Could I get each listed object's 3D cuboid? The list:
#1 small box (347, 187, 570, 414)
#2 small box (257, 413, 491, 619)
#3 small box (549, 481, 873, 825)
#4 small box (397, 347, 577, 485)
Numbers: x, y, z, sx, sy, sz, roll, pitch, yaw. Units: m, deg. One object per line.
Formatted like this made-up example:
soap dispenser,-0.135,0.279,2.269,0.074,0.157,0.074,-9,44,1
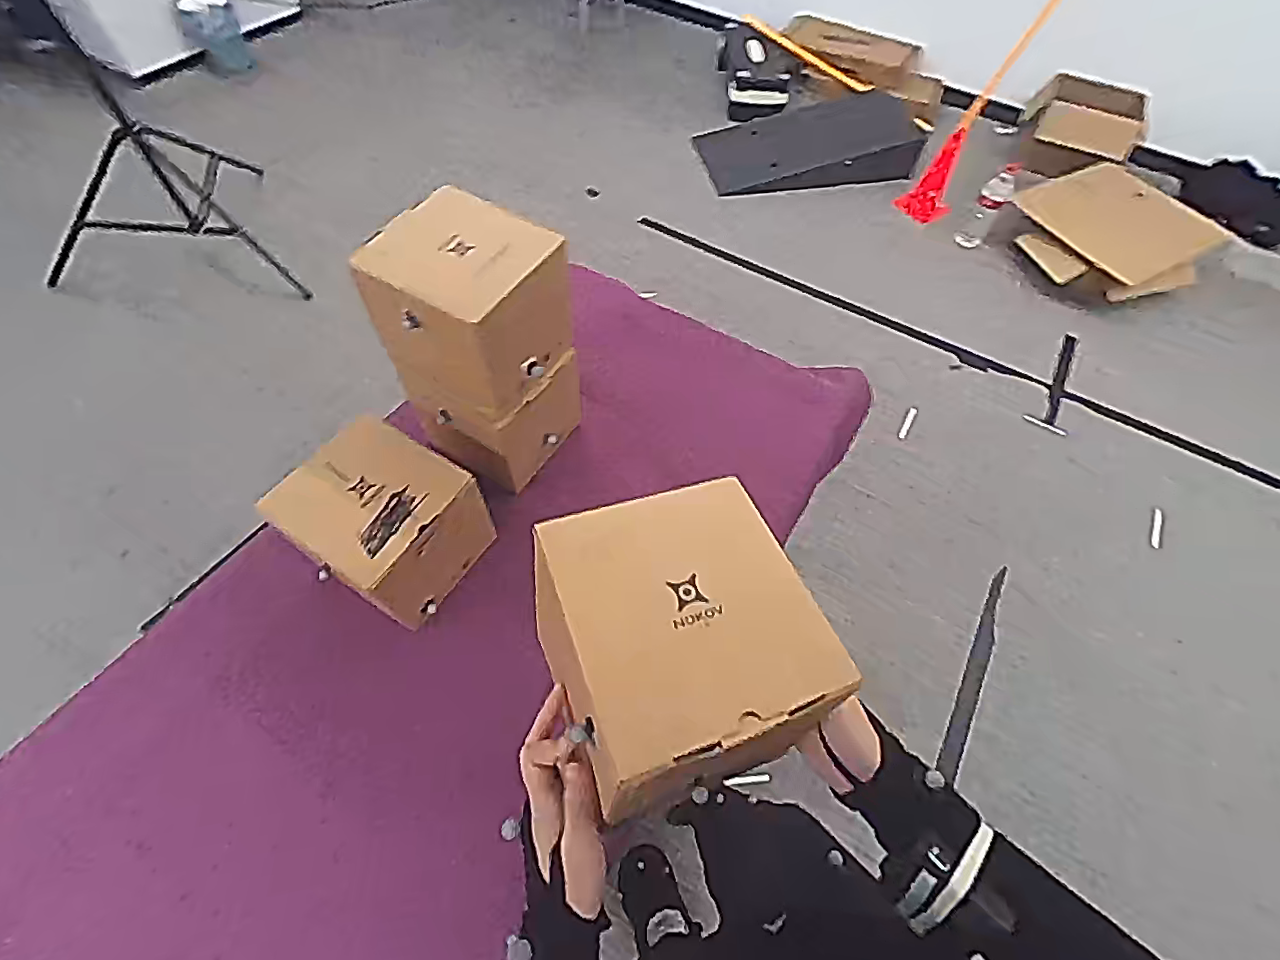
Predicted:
small box,-0.201,-0.210,0.656,0.179,0.176,0.168,28,63,11
small box,-0.313,0.054,0.681,0.179,0.176,0.168,29,62,13
small box,0.029,0.131,0.417,0.168,0.176,0.179,-13,54,-20
small box,-0.210,-0.121,0.792,0.179,0.176,0.168,30,63,12
